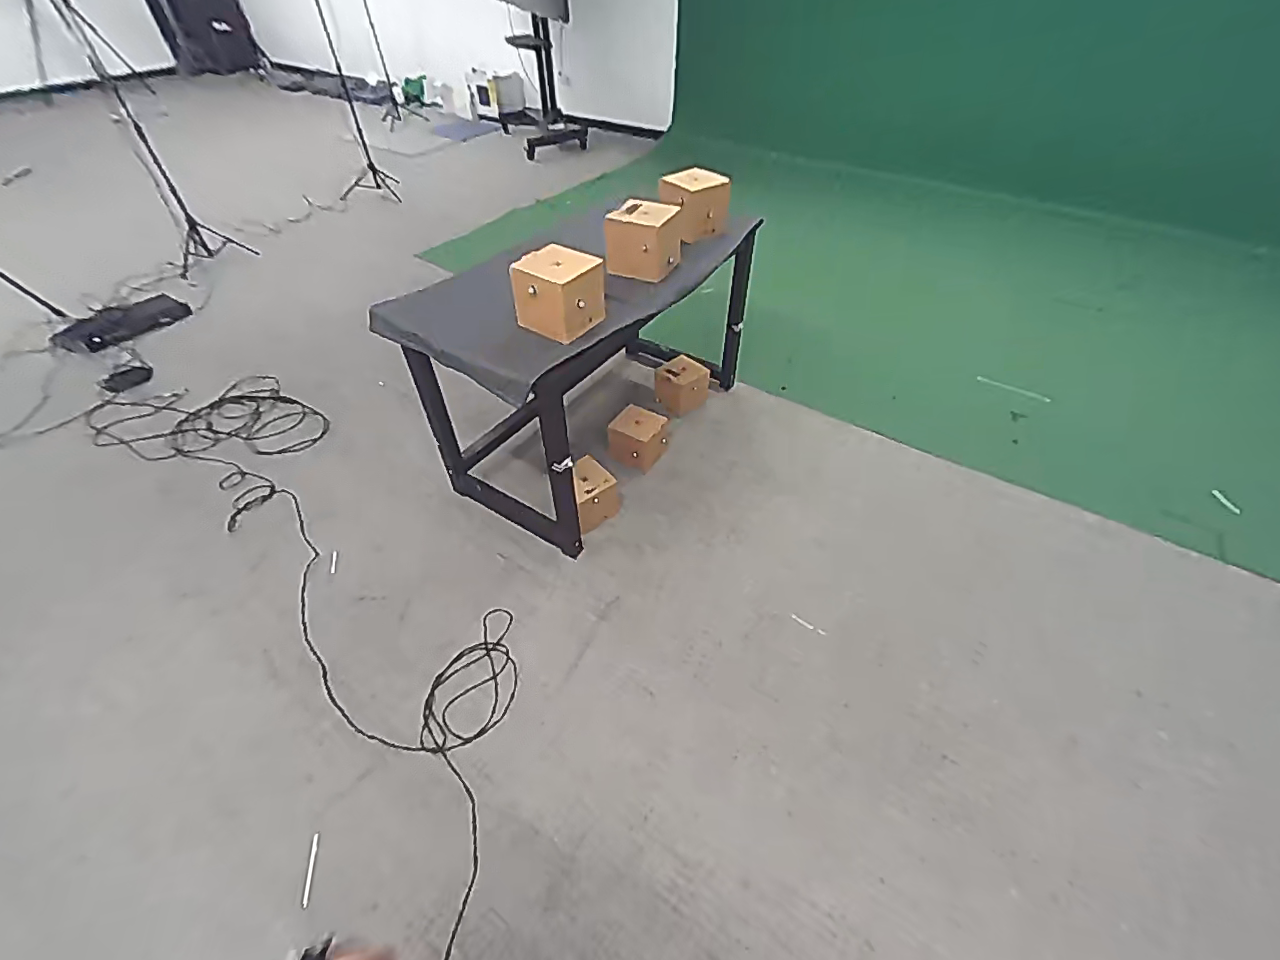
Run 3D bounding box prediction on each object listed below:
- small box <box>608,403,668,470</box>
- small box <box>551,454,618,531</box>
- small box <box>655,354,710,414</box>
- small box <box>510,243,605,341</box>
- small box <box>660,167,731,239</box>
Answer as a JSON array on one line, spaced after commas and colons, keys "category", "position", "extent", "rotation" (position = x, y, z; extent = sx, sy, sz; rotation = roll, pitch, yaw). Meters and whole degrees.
[{"category": "small box", "position": [-0.006, -0.165, 2.102], "extent": [0.179, 0.176, 0.168], "rotation": [23, 50, 22]}, {"category": "small box", "position": [-0.192, 0.047, 1.903], "extent": [0.168, 0.176, 0.179], "rotation": [-31, 53, -25]}, {"category": "small box", "position": [0.180, -0.413, 2.336], "extent": [0.179, 0.176, 0.168], "rotation": [-34, 56, -29]}, {"category": "small box", "position": [-0.204, -0.484, 1.402], "extent": [0.179, 0.176, 0.168], "rotation": [27, 52, 23]}, {"category": "small box", "position": [0.185, -0.927, 1.817], "extent": [0.168, 0.176, 0.179], "rotation": [-27, 50, -24]}]
